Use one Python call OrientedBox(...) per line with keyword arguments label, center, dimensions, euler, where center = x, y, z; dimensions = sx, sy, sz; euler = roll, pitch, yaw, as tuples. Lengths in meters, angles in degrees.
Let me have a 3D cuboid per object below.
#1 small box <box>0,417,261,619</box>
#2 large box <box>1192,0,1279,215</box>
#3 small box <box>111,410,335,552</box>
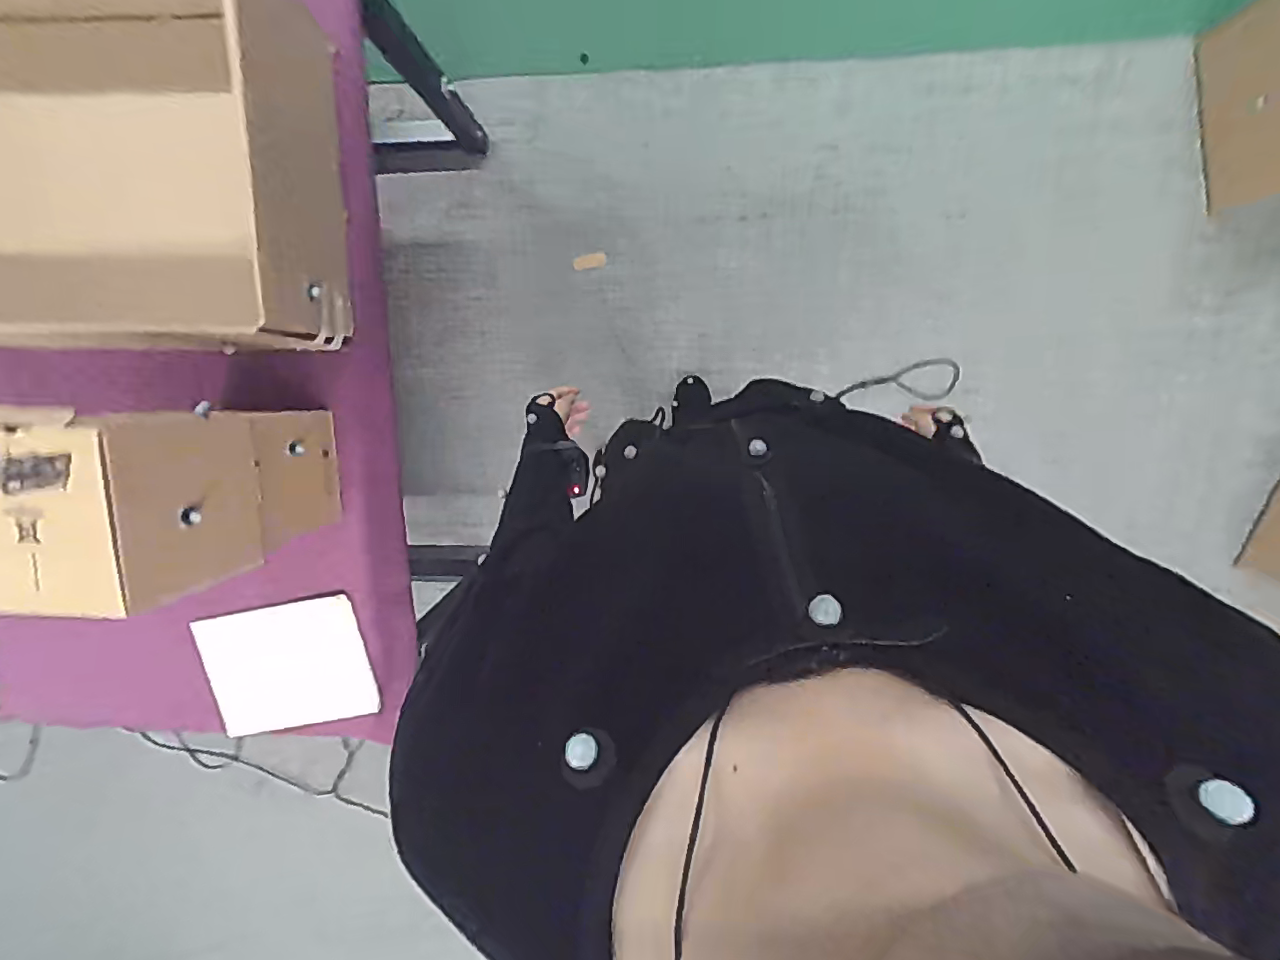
OrientedBox(label="small box", center=(-0.534, 0.026, 0.558), dimensions=(0.168, 0.176, 0.179), euler=(1, 100, 4))
OrientedBox(label="large box", center=(1.483, -0.848, 1.134), dimensions=(0.320, 0.320, 0.408), euler=(-15, 97, 5))
OrientedBox(label="small box", center=(-0.533, -0.007, 0.719), dimensions=(0.179, 0.176, 0.168), euler=(1, 99, 4))
